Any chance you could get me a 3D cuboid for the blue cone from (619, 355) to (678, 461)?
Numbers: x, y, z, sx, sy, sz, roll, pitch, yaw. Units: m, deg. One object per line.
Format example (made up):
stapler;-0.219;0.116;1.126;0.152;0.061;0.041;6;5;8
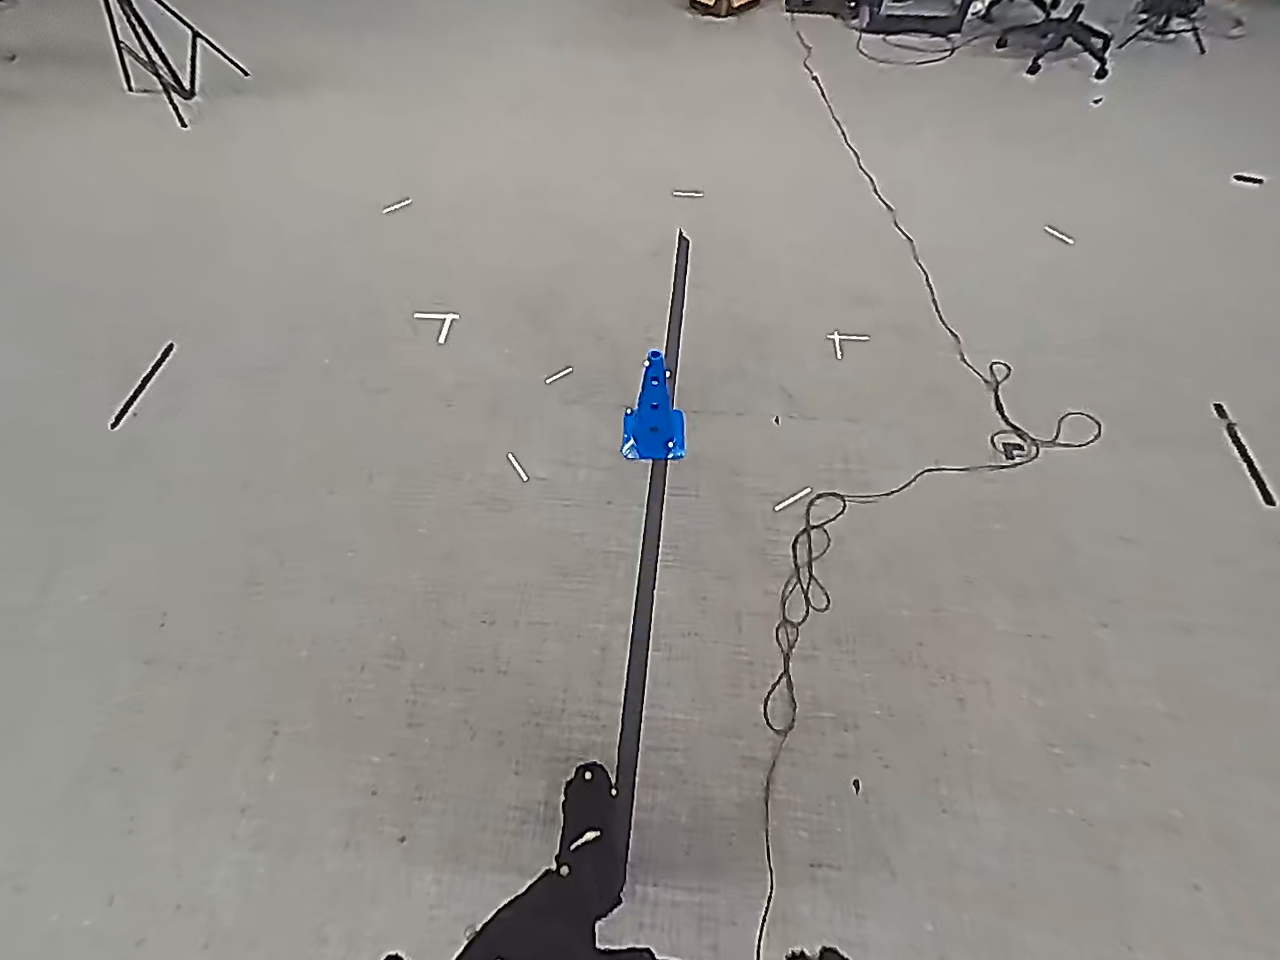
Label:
blue cone;0.027;-0.230;1.638;0.192;0.380;0.193;2;57;2
